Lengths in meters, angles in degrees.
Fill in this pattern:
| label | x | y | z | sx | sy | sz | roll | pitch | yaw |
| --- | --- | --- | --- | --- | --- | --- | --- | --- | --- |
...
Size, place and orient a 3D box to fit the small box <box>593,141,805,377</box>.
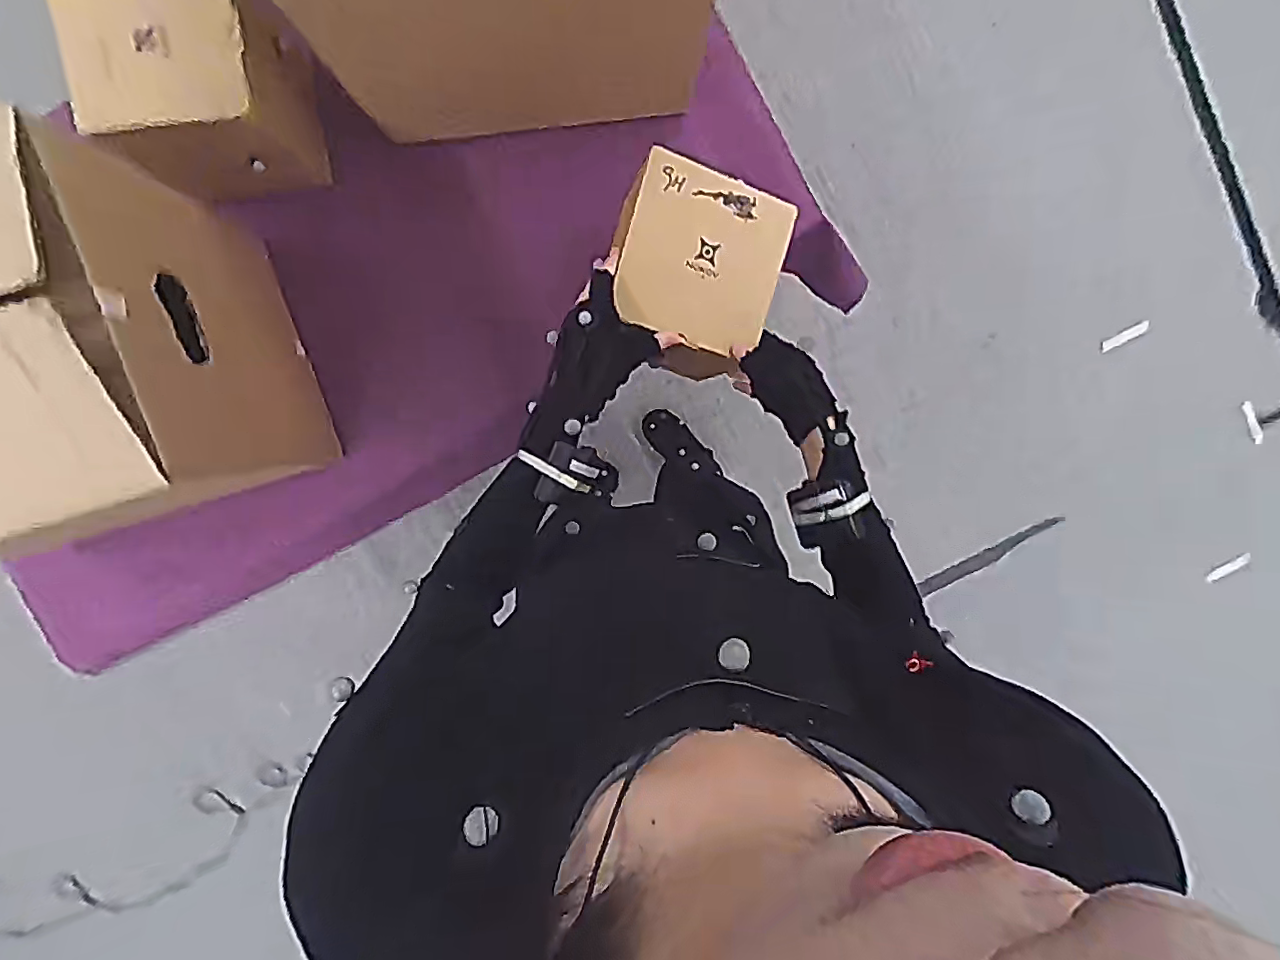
| label | x | y | z | sx | sy | sz | roll | pitch | yaw |
| --- | --- | --- | --- | --- | --- | --- | --- | --- | --- |
| small box | 0.051 | -0.226 | 0.614 | 0.168 | 0.176 | 0.179 | 19 | 92 | -14 |
